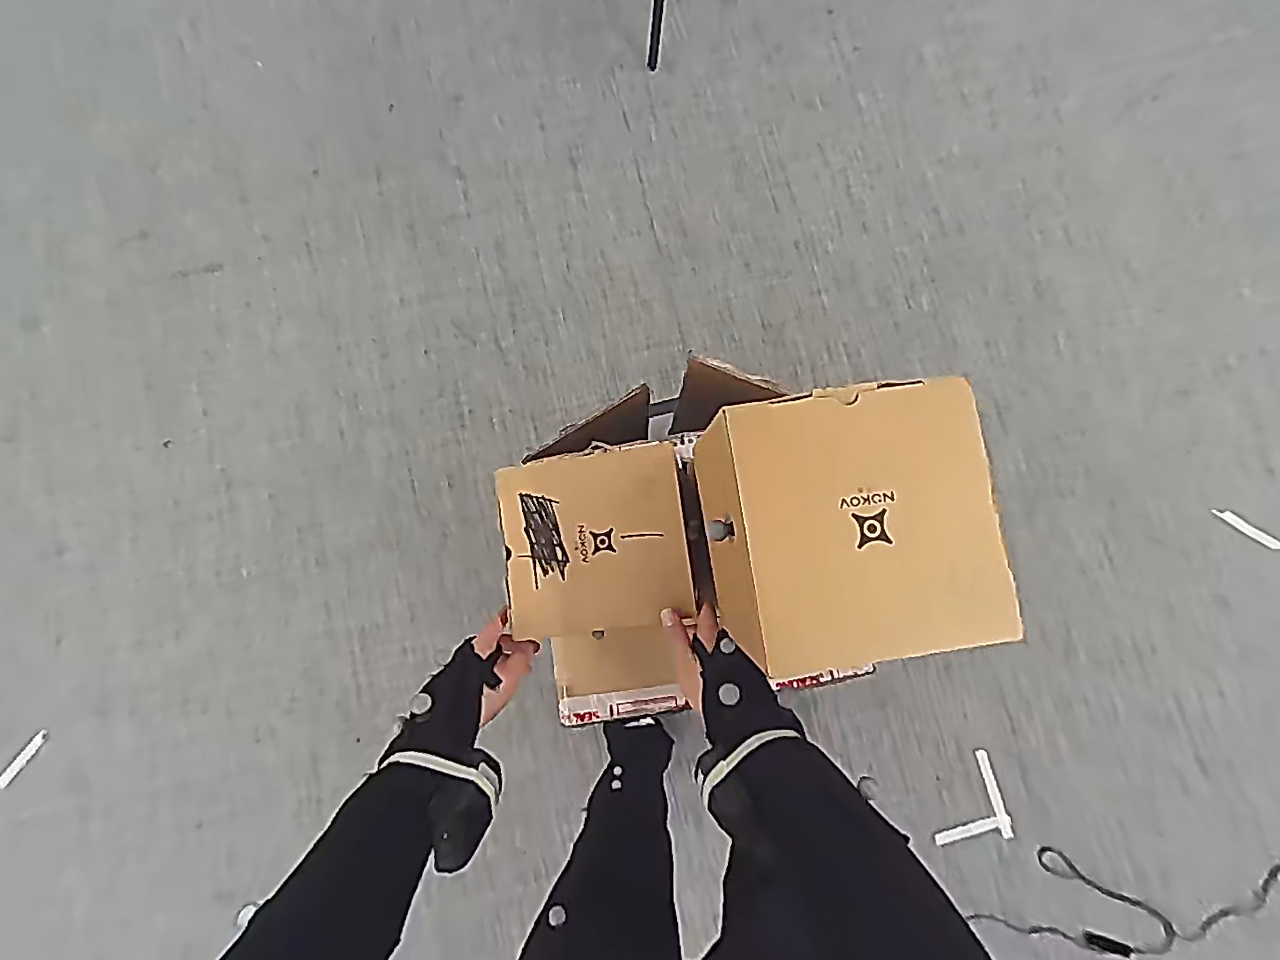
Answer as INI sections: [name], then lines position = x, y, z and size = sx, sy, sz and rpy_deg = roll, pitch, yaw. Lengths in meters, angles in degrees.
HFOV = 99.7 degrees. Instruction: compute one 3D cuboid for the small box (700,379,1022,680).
[small box]
position = 0.148, 0.037, 0.427
size = 0.168, 0.176, 0.179
rpy_deg = -9, 83, -2
